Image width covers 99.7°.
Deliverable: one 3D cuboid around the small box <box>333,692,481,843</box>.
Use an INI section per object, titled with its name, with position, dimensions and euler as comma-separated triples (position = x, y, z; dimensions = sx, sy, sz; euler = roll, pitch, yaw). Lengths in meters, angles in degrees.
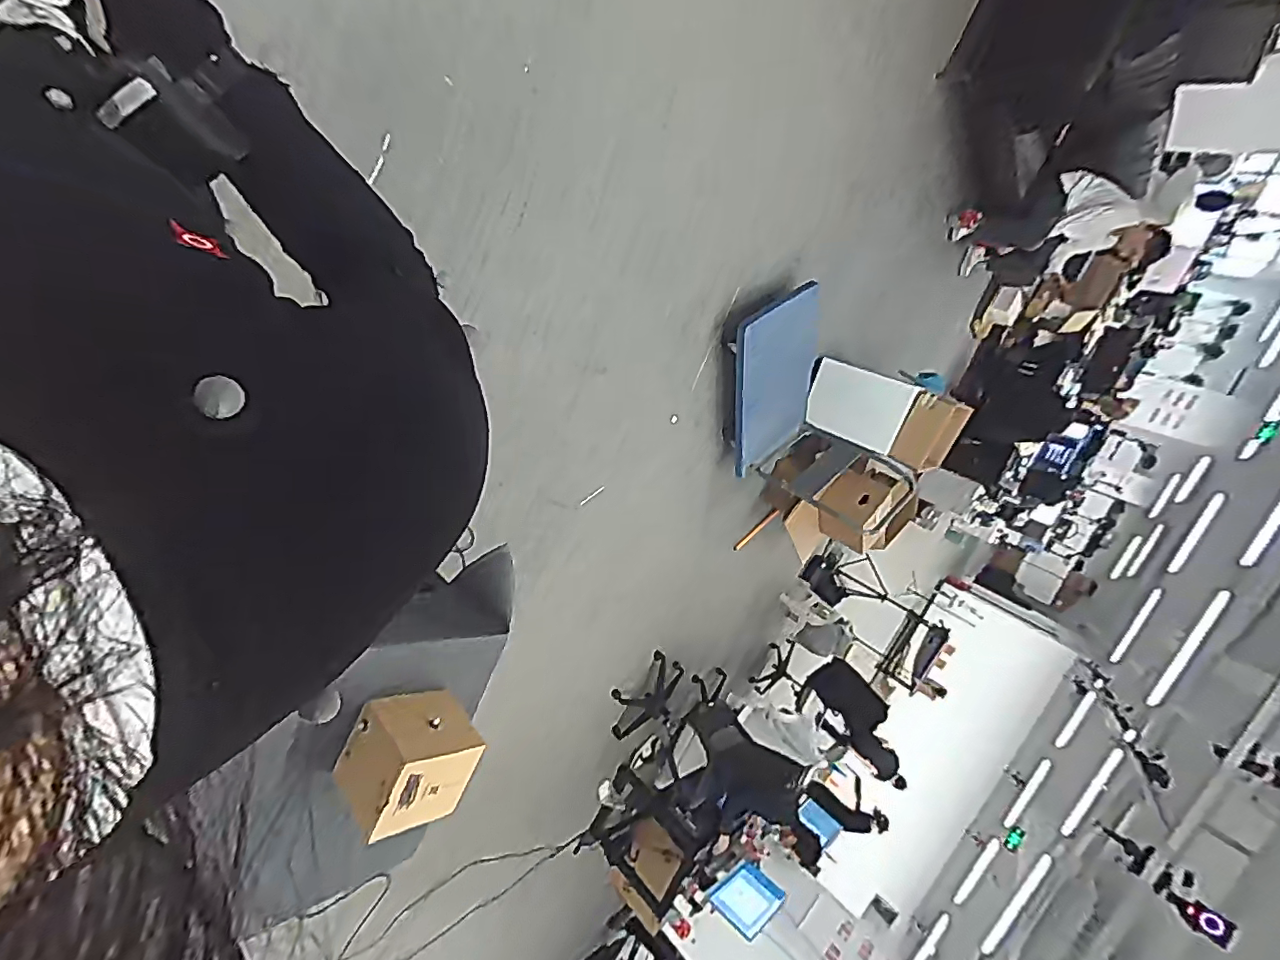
[small box]
position = -0.446, 0.530, 1.026
dimensions = 0.179, 0.176, 0.168
euler = 19, 100, -54
